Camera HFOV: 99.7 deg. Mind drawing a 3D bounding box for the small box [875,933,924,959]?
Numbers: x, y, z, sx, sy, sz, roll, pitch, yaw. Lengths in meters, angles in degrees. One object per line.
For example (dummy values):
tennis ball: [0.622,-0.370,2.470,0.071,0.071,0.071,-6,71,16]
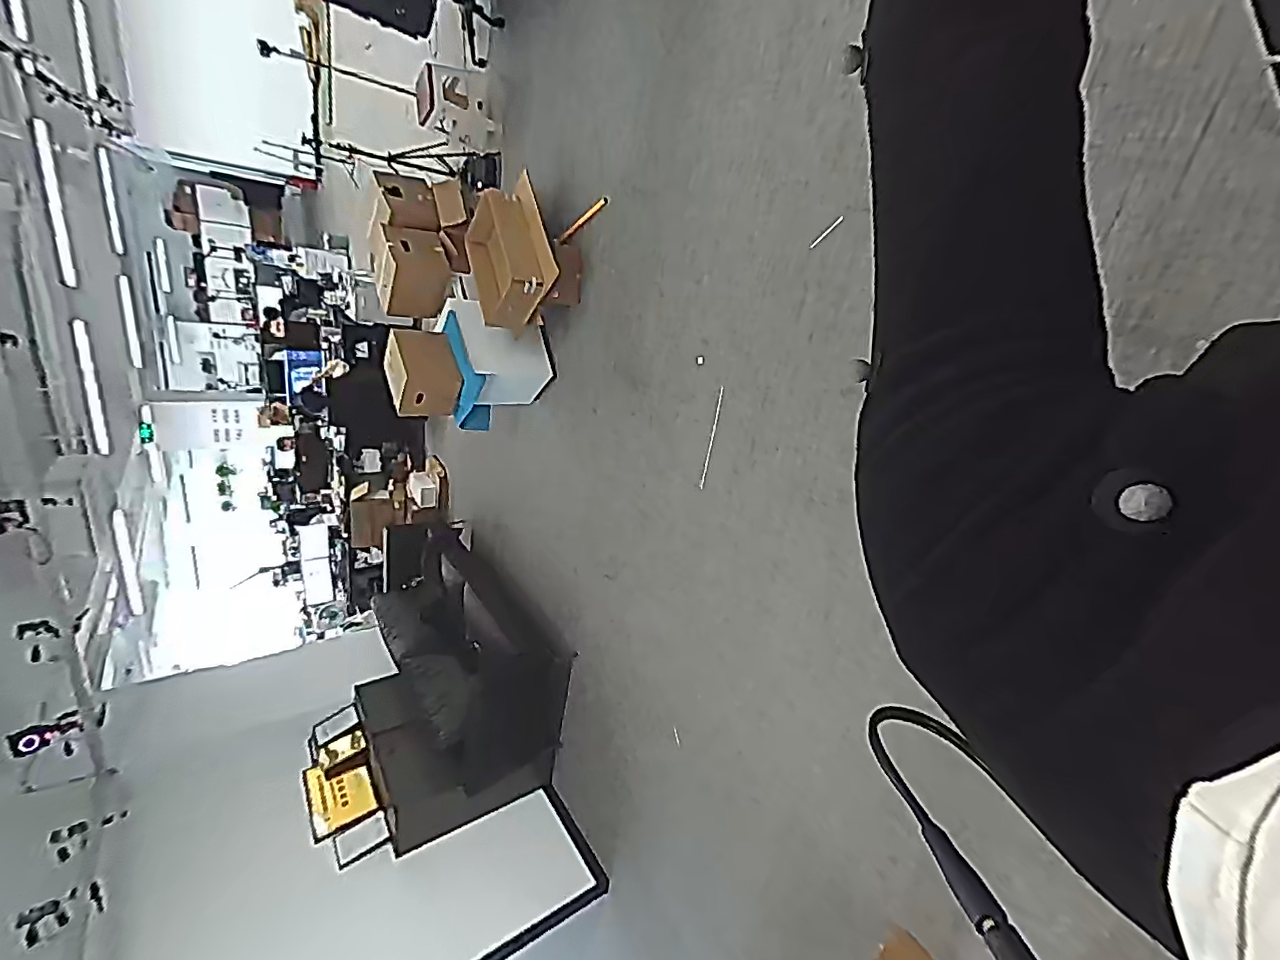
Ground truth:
small box: [0.856,1.649,1.761,0.179,0.176,0.168,35,121,46]
